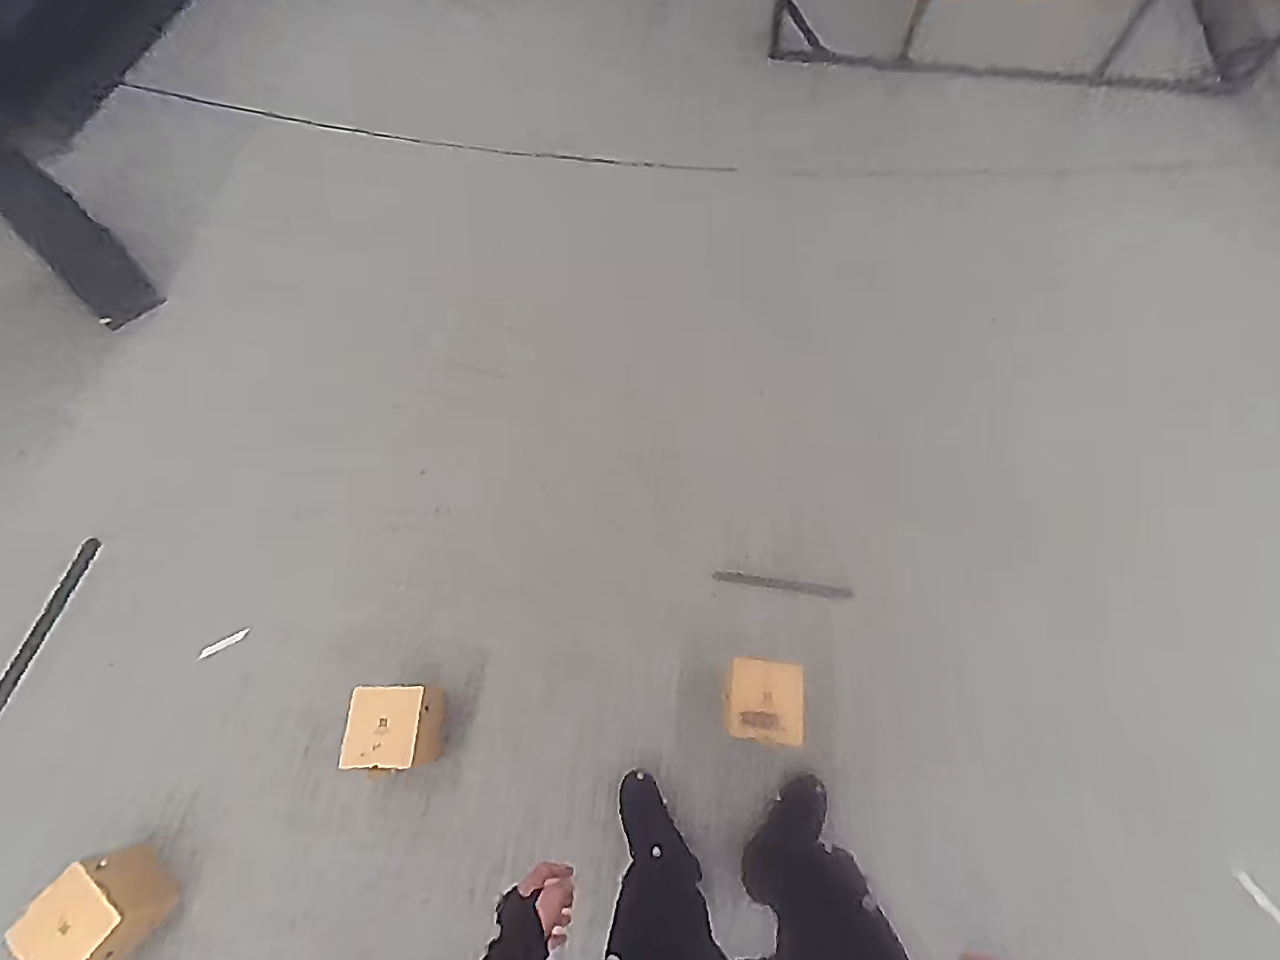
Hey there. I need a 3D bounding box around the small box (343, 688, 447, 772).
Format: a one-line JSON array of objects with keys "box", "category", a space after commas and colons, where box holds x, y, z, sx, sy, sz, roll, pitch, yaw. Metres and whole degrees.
[{"box": [-0.583, 0.604, 1.311, 0.168, 0.176, 0.179, 0, 66, 0], "category": "small box"}]

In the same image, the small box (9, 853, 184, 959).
[{"box": [-1.156, 0.949, 1.167, 0.179, 0.176, 0.168, 33, 71, 15], "category": "small box"}]
